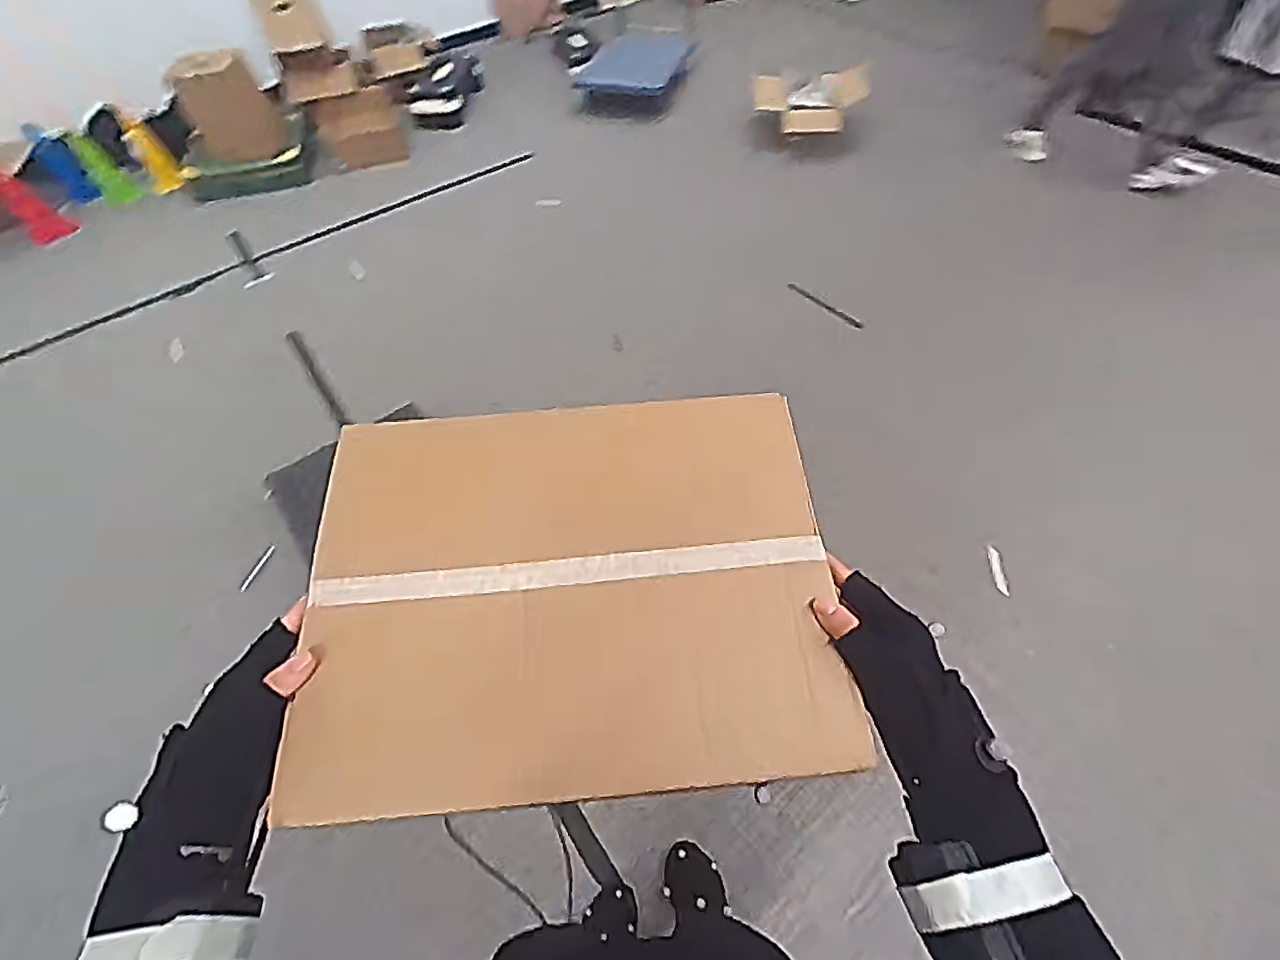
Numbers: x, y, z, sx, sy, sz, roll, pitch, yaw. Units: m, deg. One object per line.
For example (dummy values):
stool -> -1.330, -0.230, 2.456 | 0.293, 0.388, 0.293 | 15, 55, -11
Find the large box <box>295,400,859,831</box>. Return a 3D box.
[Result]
large box -> -0.053, 0.146, 0.574 | 0.408, 0.320, 0.320 | -6, 62, -2
